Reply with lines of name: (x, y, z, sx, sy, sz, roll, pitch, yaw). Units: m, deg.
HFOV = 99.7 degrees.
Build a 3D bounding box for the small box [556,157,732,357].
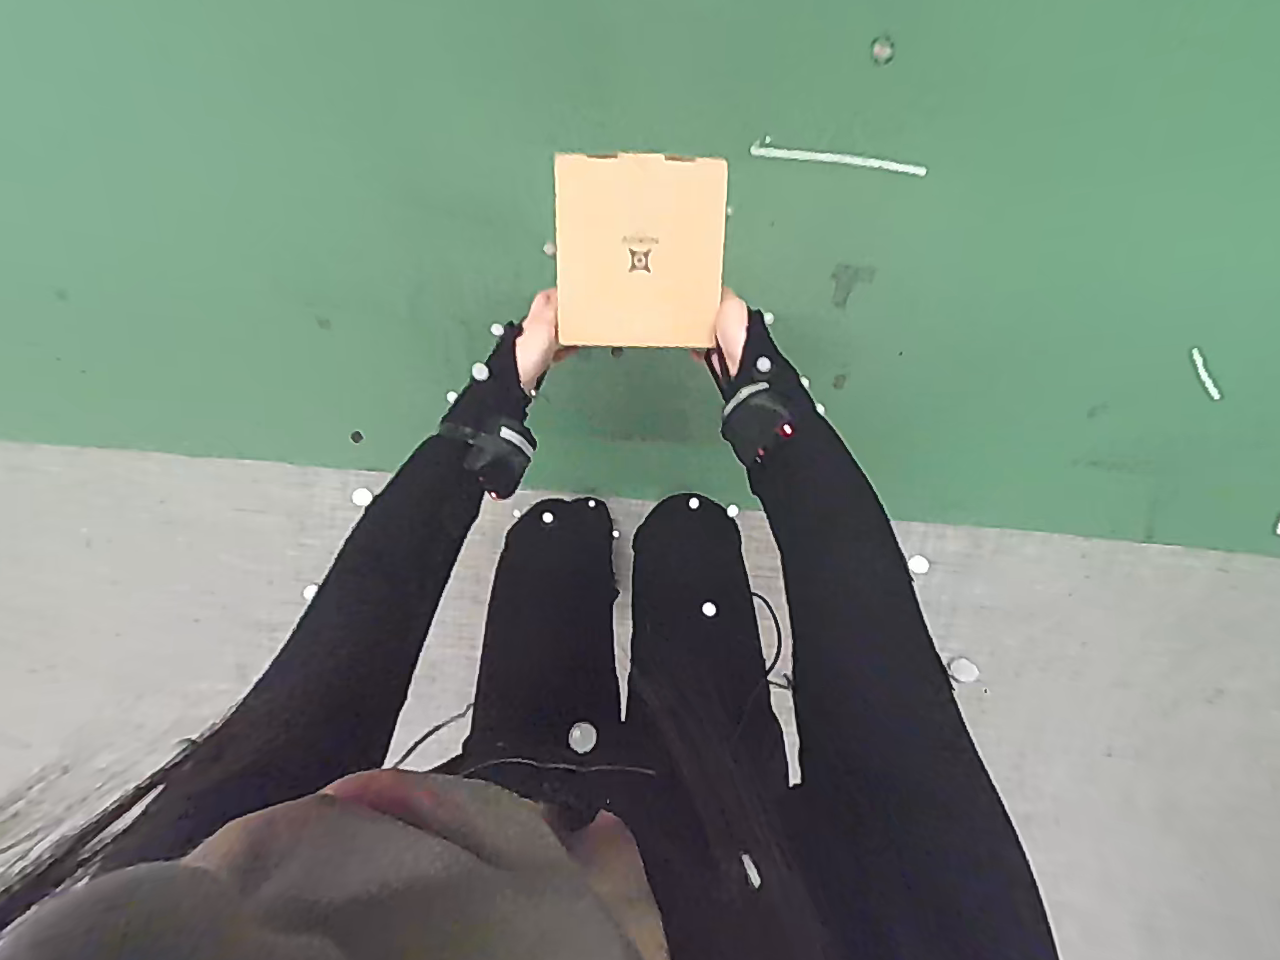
small box: (0.000, -0.230, 0.596, 0.168, 0.176, 0.179, 1, 104, -2)
